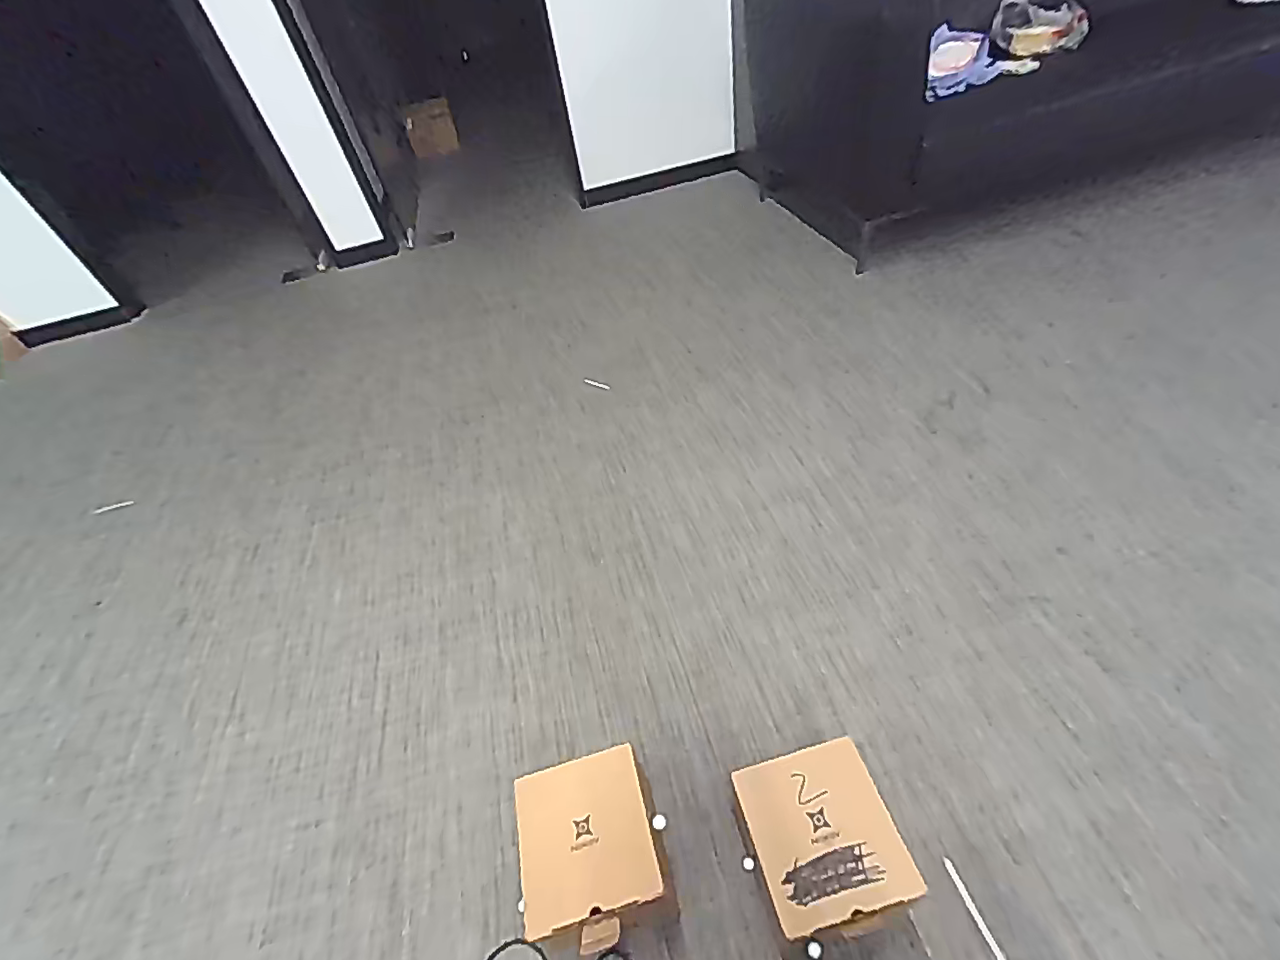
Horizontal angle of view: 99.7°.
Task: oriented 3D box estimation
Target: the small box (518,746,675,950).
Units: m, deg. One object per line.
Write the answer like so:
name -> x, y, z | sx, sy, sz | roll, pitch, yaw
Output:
small box -> -0.058, 0.500, 0.734 | 0.168, 0.176, 0.179 | -16, 45, -4
